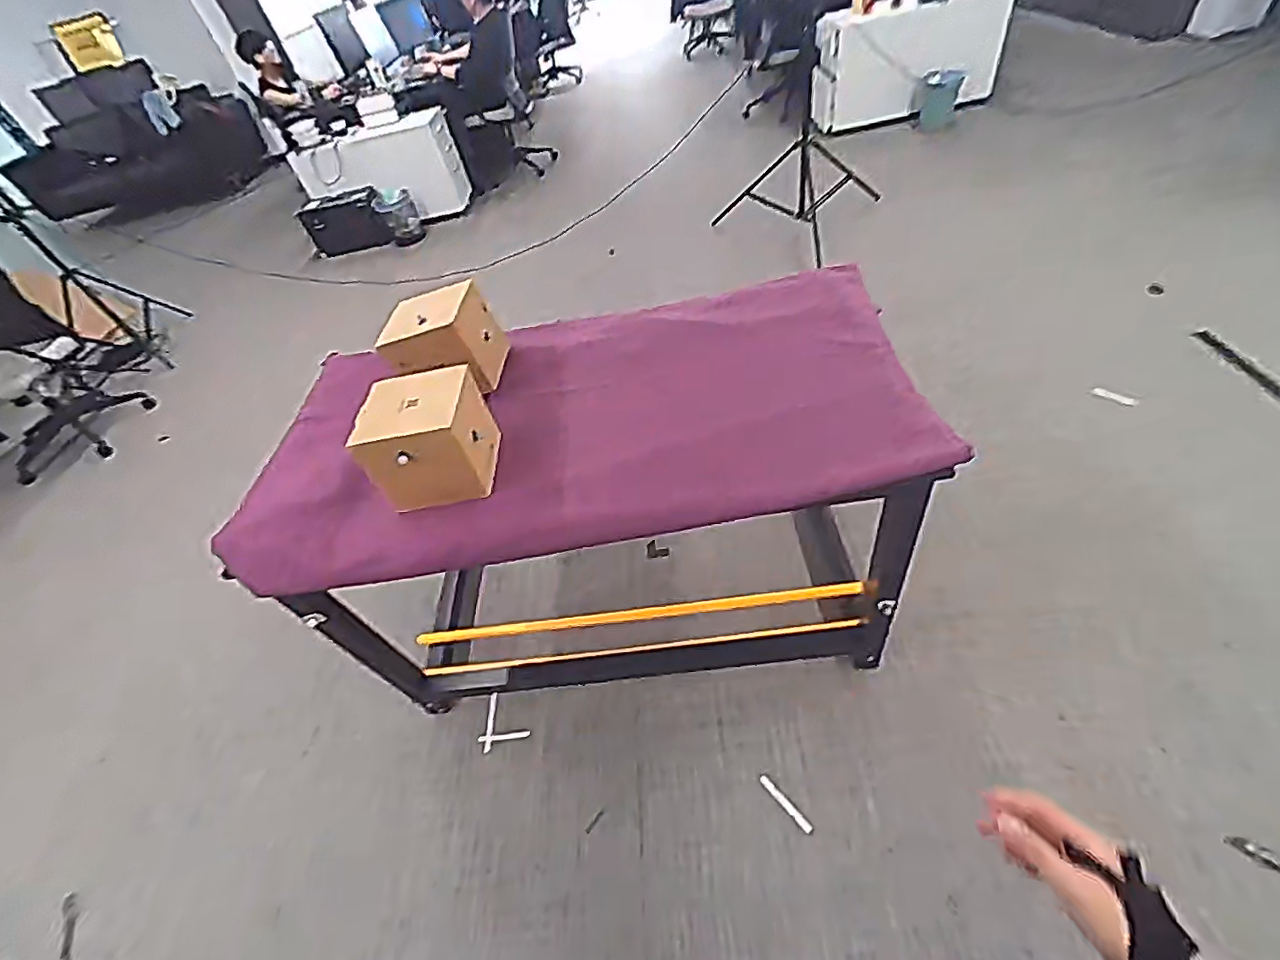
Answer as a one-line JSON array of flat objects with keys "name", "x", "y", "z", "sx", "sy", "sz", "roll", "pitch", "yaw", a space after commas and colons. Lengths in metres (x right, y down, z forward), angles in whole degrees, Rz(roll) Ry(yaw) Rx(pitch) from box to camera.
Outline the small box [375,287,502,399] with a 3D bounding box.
[{"name": "small box", "x": -0.401, "y": -0.272, "z": 1.118, "sx": 0.179, "sy": 0.168, "sz": 0.176, "roll": -12, "pitch": 45, "yaw": 13}]

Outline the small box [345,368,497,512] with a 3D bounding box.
[{"name": "small box", "x": -0.363, "y": -0.066, "z": 0.939, "sx": 0.179, "sy": 0.176, "sz": 0.168, "roll": -10, "pitch": 47, "yaw": 5}]
